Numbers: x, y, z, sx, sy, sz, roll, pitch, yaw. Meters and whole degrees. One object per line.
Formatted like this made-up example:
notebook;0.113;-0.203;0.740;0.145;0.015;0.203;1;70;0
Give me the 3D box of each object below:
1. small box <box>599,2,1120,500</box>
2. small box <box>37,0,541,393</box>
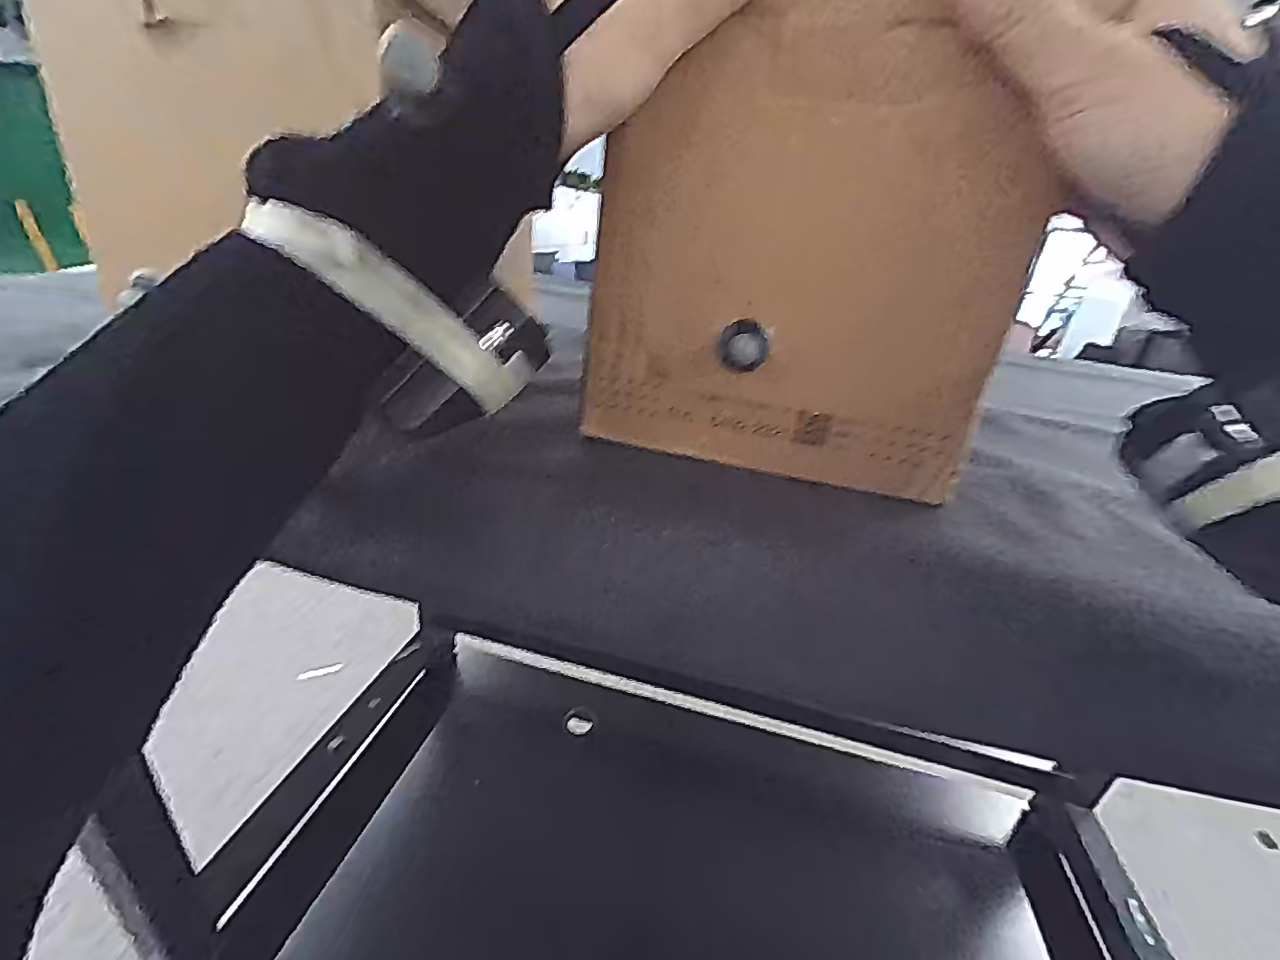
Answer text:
small box;0.081;-0.110;0.289;0.168;0.176;0.179;11;24;9
small box;-0.168;-0.158;0.321;0.168;0.176;0.179;12;24;7
